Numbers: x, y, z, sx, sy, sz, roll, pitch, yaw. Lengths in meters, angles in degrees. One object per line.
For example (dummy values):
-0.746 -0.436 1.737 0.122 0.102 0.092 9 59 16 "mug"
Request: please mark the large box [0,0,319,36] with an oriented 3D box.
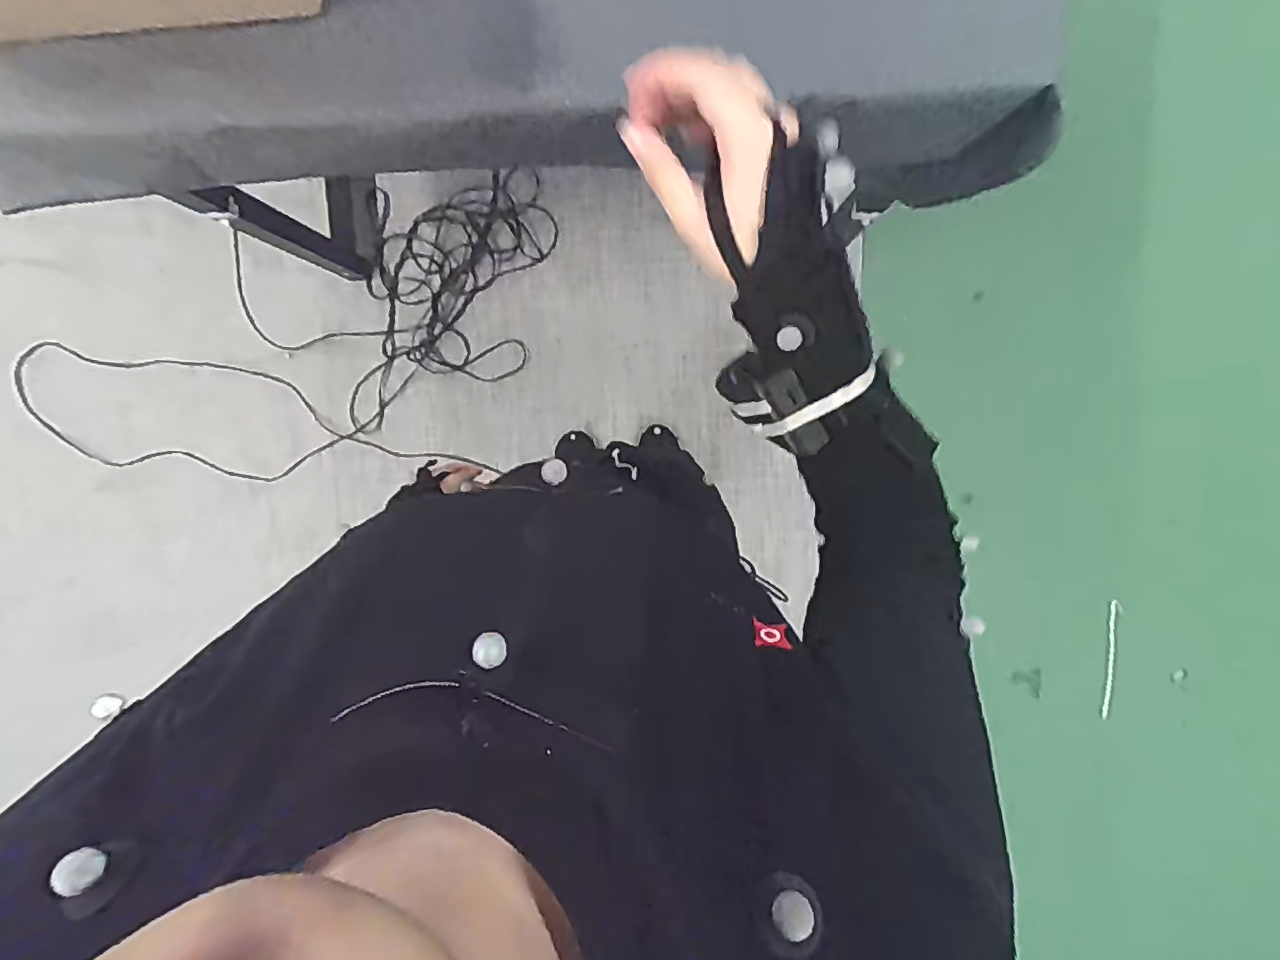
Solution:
-0.551 -0.635 0.430 0.408 0.320 0.320 -5 96 0 "large box"
